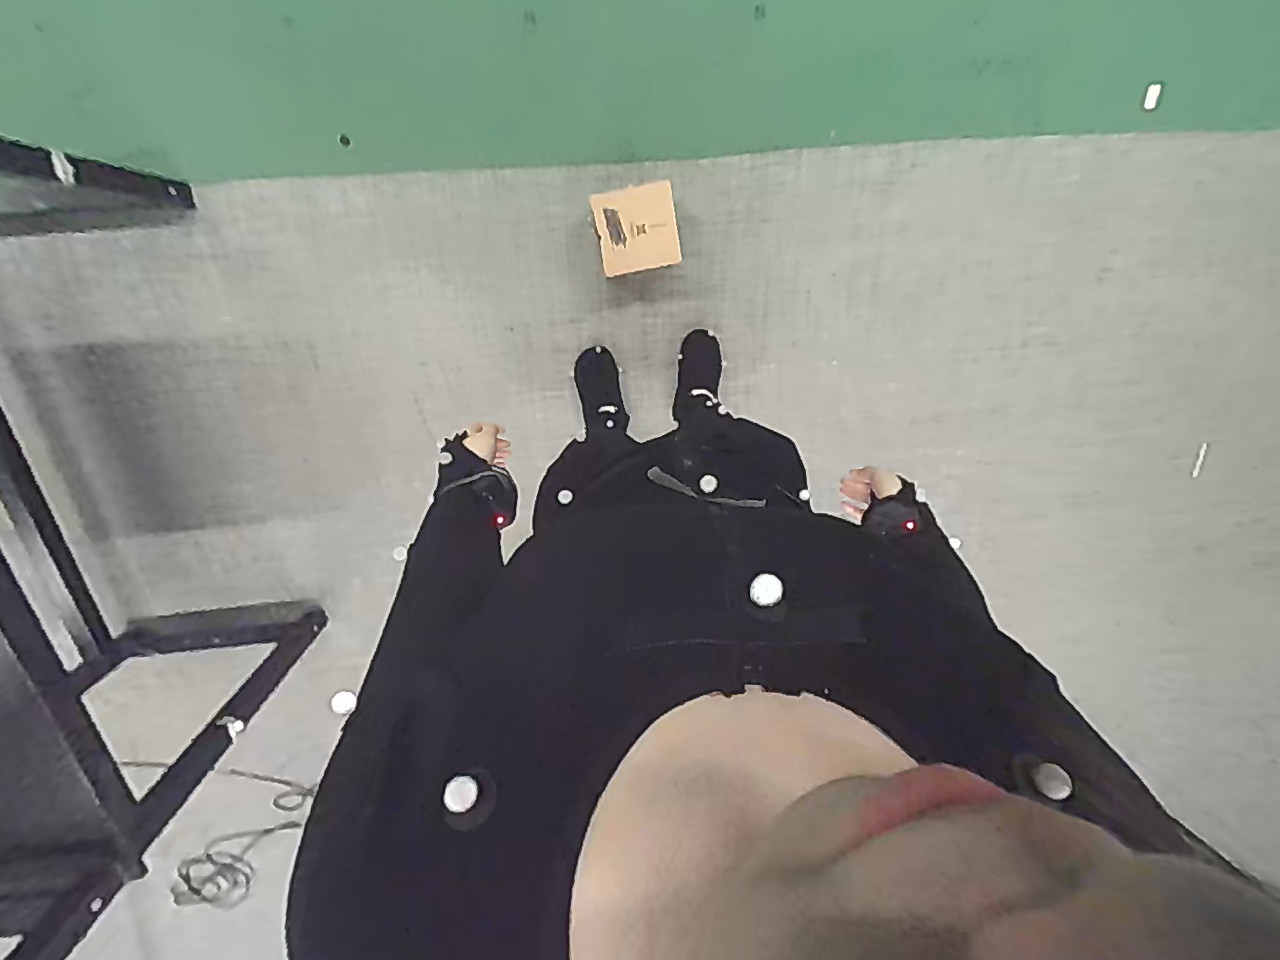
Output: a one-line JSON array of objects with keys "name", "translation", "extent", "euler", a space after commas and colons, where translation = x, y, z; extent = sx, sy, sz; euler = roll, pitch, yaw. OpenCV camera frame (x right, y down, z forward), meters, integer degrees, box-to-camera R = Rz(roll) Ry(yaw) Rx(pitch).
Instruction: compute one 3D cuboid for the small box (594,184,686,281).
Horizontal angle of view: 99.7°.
[{"name": "small box", "translation": [-0.002, -0.551, 1.225], "extent": [0.179, 0.176, 0.168], "euler": [-12, 111, 0]}]
